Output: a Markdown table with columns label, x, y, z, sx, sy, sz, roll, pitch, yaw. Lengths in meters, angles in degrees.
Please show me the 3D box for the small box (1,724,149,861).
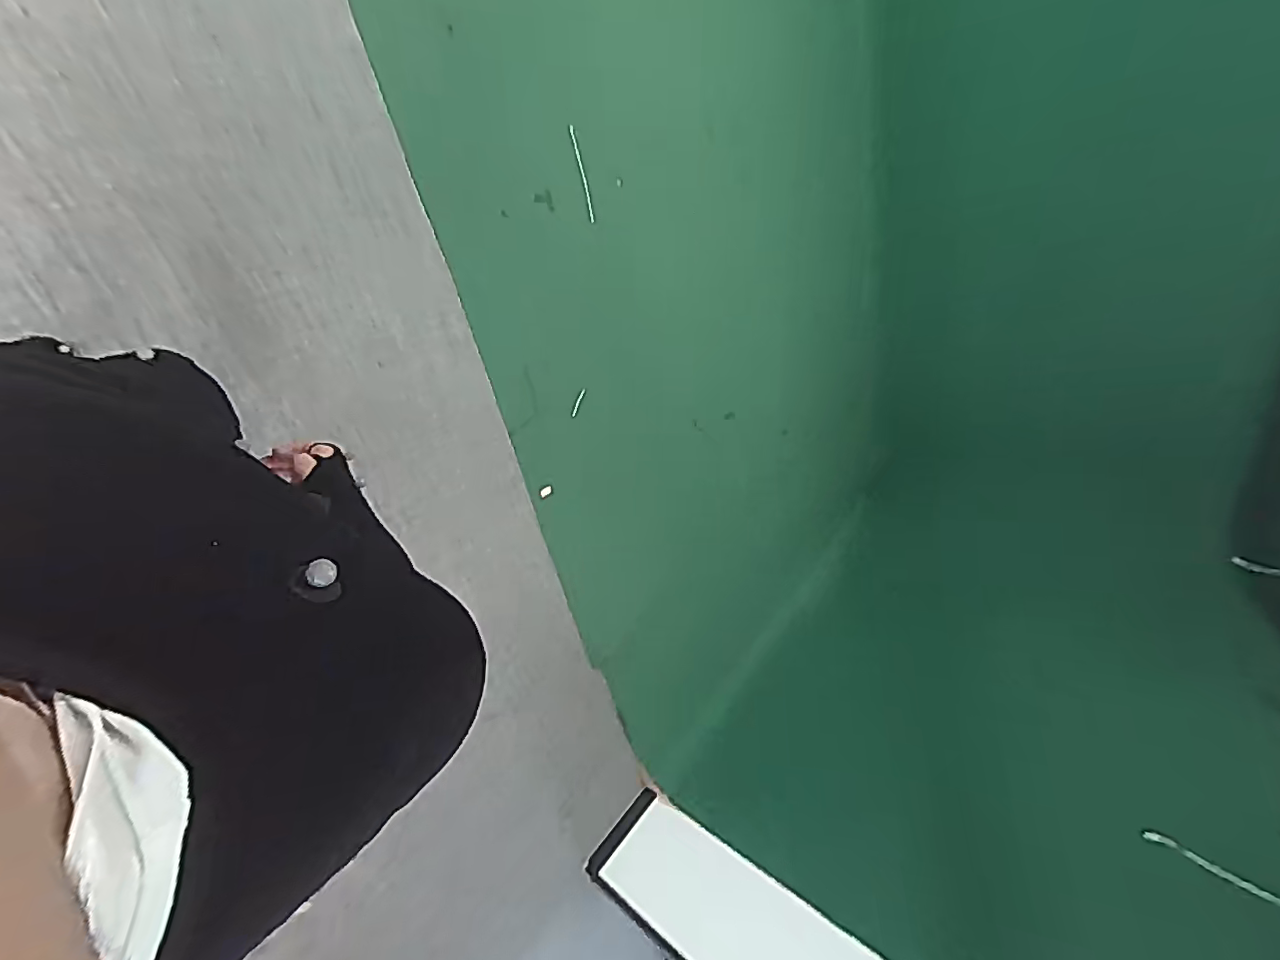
| label | x | y | z | sx | sy | sz | roll | pitch | yaw |
| --- | --- | --- | --- | --- | --- | --- | --- | --- | --- |
| small box | -1.238 | 0.670 | 1.186 | 0.168 | 0.176 | 0.179 | -35 | 125 | -38 |
